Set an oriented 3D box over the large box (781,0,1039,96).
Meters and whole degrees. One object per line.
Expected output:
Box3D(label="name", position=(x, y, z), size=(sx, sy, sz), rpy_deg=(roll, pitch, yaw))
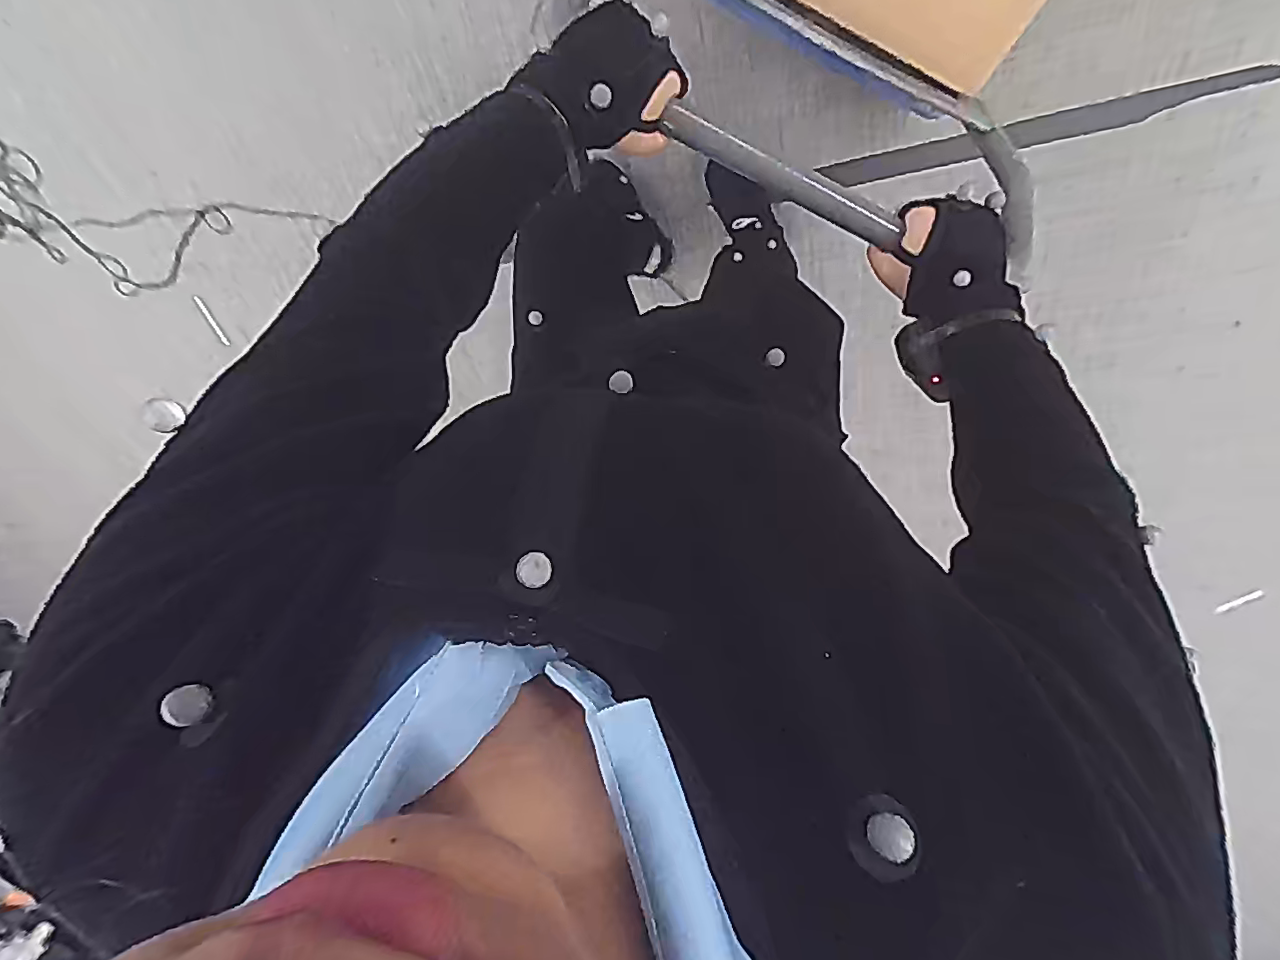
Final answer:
Box3D(label="large box", position=(0.336, -0.775, 0.689), size=(0.408, 0.320, 0.320), rpy_deg=(23, 136, -8))
